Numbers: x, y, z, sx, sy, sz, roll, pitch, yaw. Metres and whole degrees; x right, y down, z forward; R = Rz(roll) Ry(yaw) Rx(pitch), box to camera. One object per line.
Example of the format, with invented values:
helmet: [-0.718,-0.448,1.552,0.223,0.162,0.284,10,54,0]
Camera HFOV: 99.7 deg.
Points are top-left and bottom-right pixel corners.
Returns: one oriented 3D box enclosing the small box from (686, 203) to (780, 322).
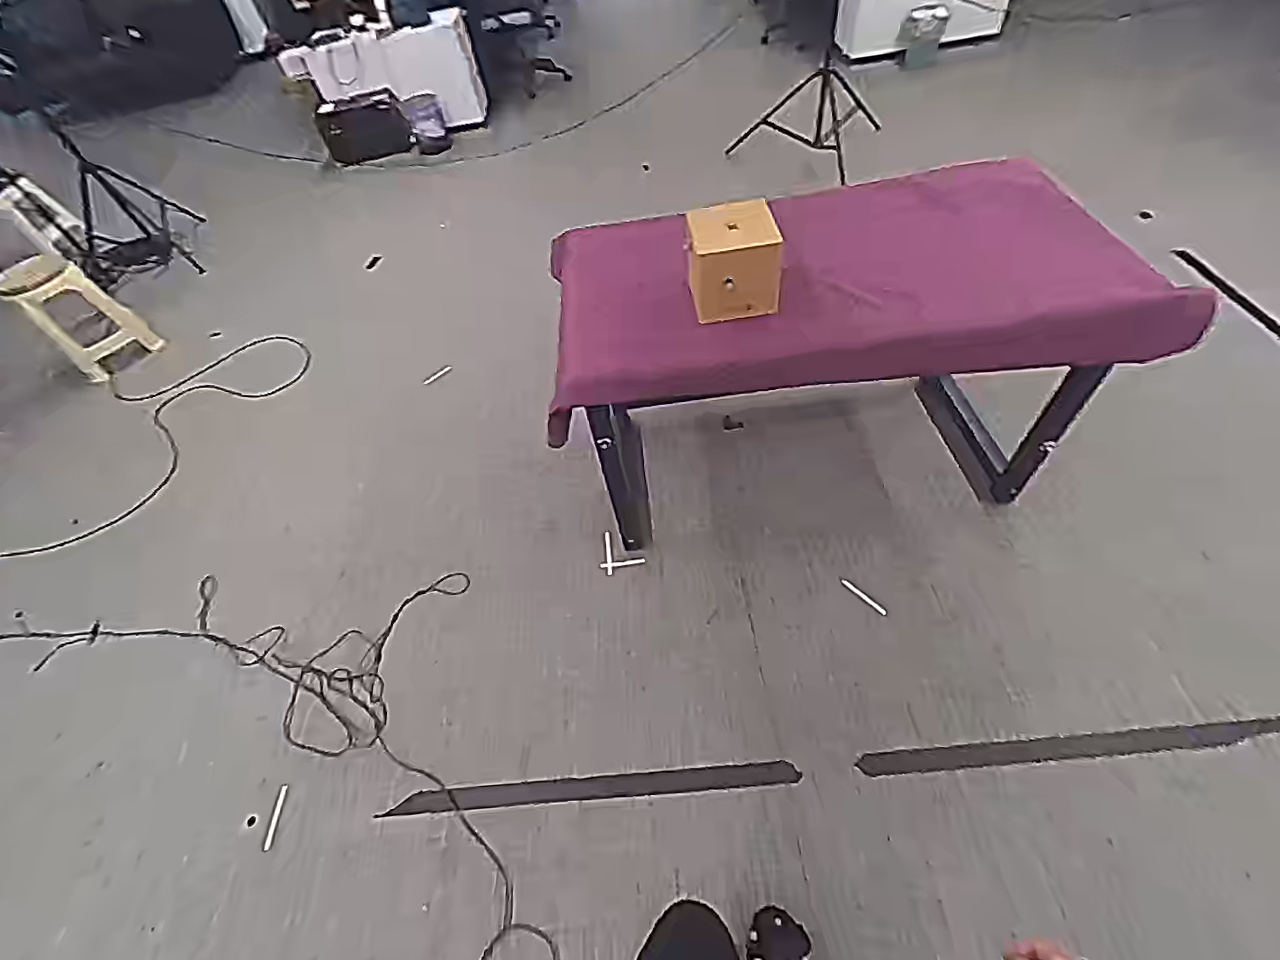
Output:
small box: [0.194,-0.454,1.149,0.168,0.176,0.179,-8,52,3]
